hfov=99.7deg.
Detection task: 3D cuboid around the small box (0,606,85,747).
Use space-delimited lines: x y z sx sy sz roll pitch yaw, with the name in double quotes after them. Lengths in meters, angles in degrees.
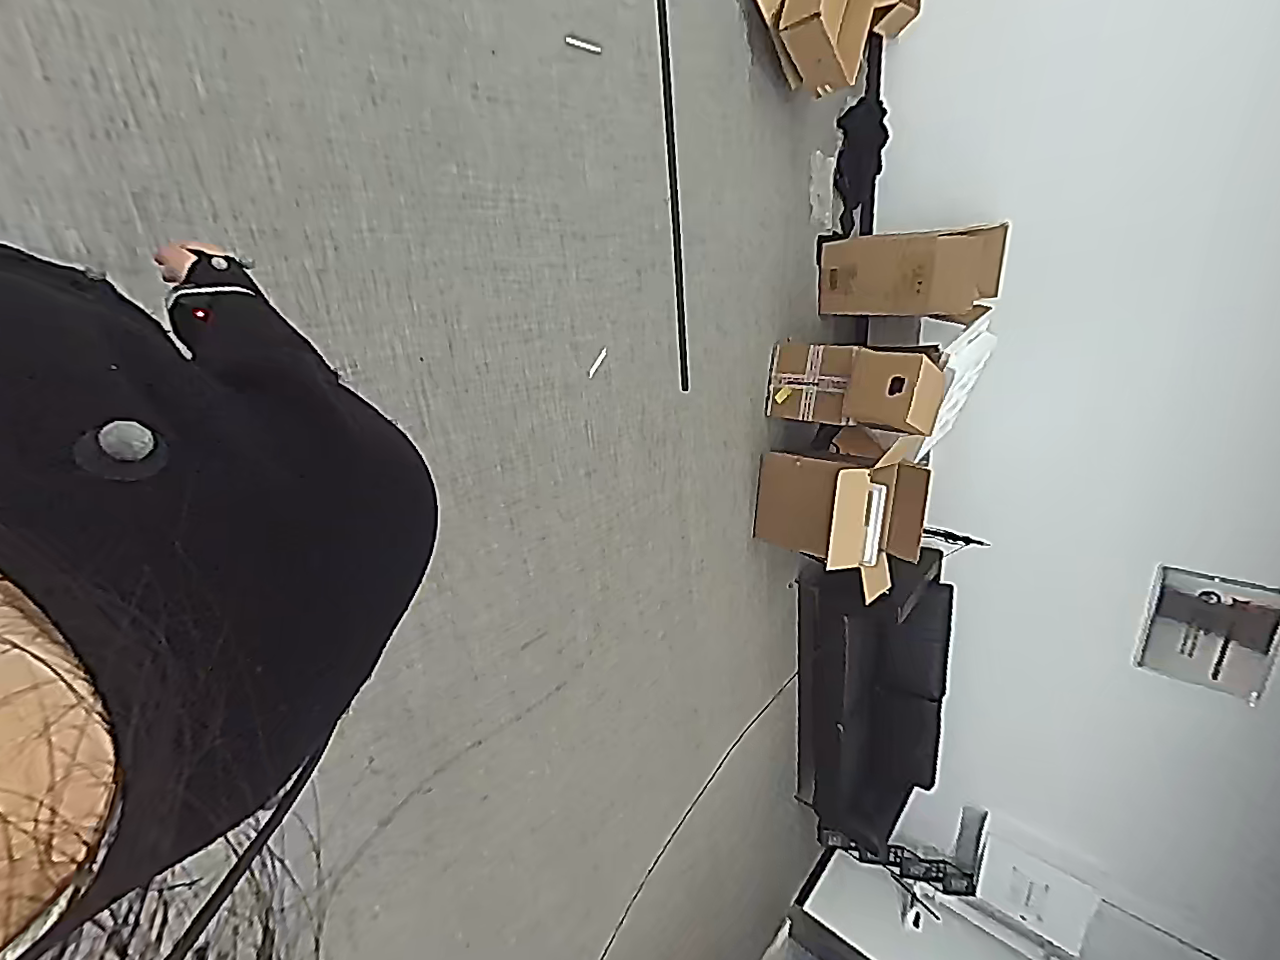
-1.174 0.364 0.997 0.168 0.176 0.179 -27 121 -41 "small box"
